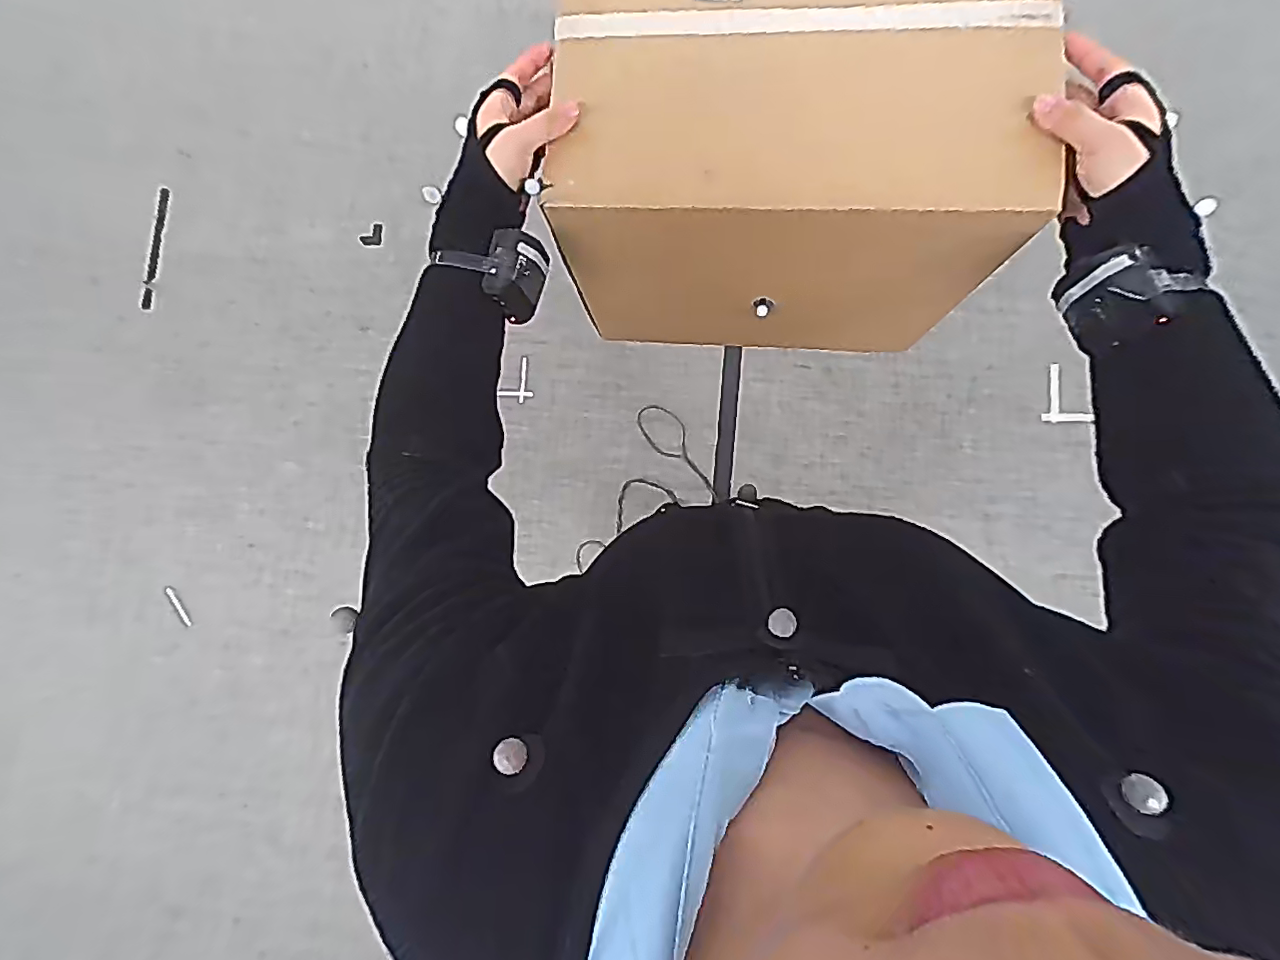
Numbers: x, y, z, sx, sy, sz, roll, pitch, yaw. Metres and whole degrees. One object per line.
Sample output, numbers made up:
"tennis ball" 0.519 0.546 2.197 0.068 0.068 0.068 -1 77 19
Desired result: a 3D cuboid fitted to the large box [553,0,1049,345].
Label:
"large box" 0.146 -0.350 0.604 0.408 0.320 0.320 3 83 6
